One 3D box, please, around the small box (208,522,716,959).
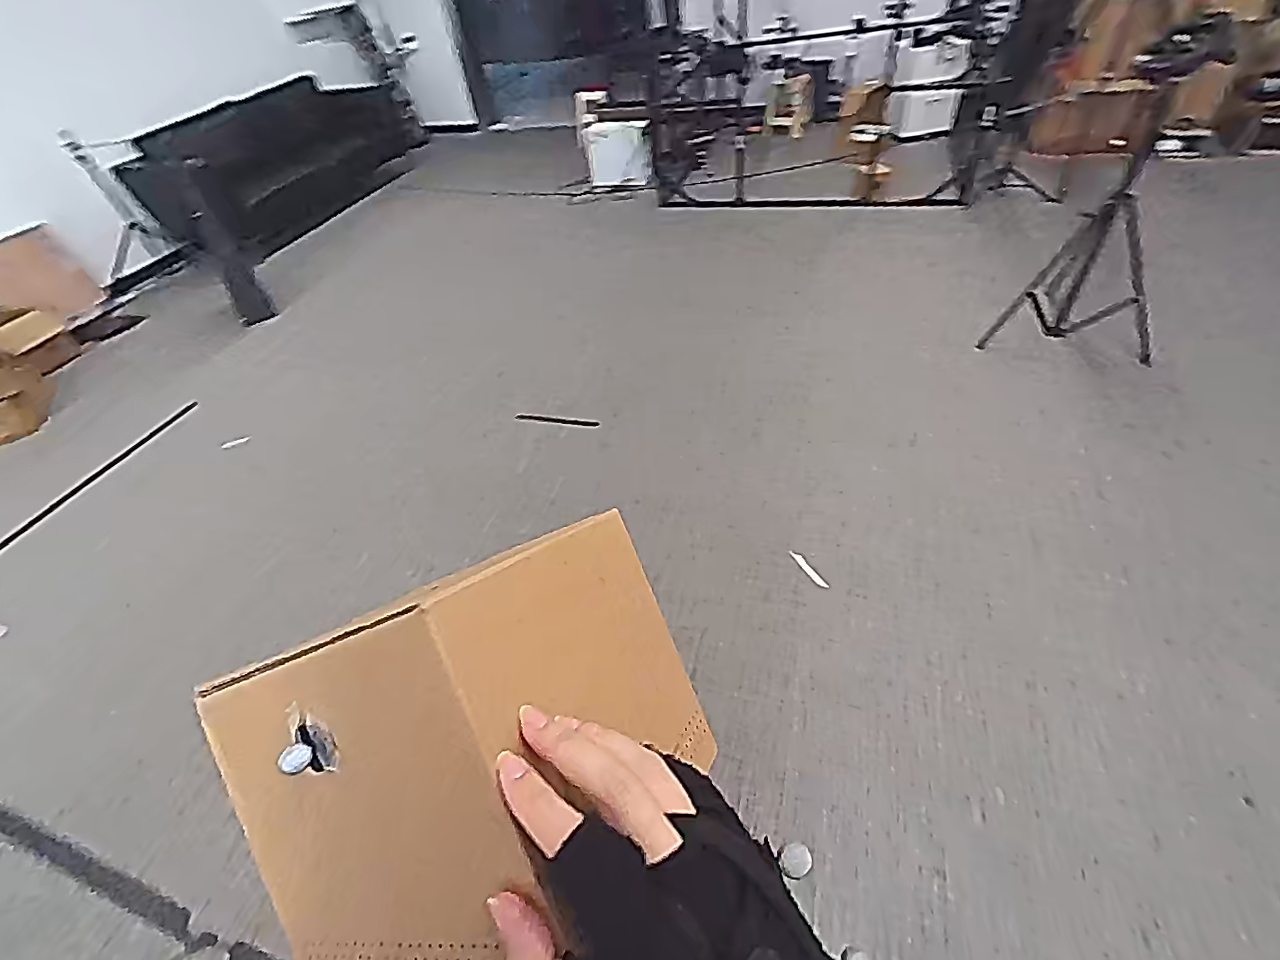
[{"bbox_3d":[-0.083,0.145,0.304,0.179,0.176,0.168,-23,0,24],"label":"small box"}]
